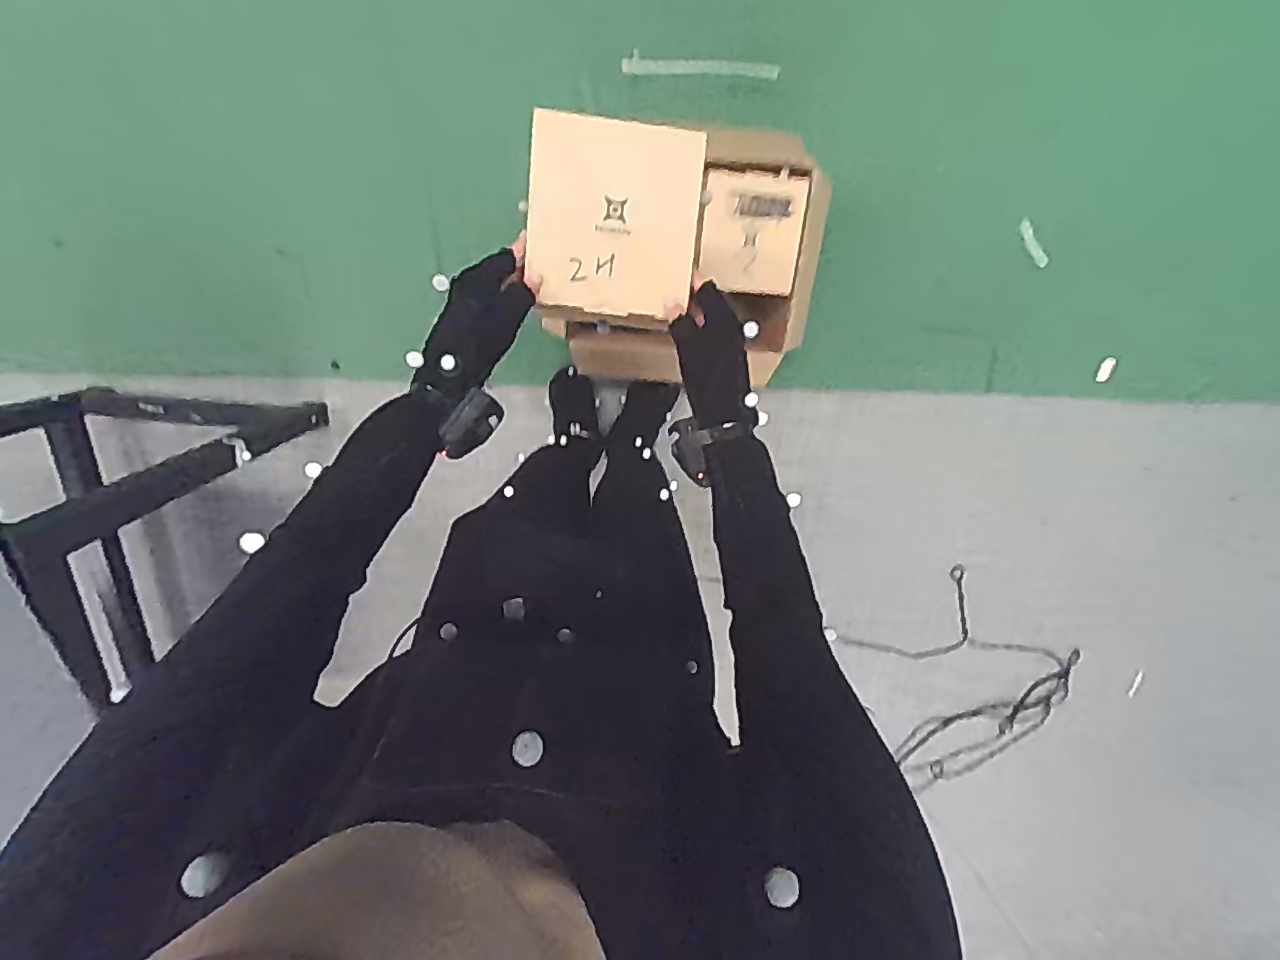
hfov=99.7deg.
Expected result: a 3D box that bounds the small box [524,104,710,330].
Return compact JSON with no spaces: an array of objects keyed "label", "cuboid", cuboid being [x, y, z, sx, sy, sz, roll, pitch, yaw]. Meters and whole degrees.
[{"label":"small box","cuboid":[-0.029,-0.268,0.595,0.168,0.176,0.179,5,102,-5]}]
